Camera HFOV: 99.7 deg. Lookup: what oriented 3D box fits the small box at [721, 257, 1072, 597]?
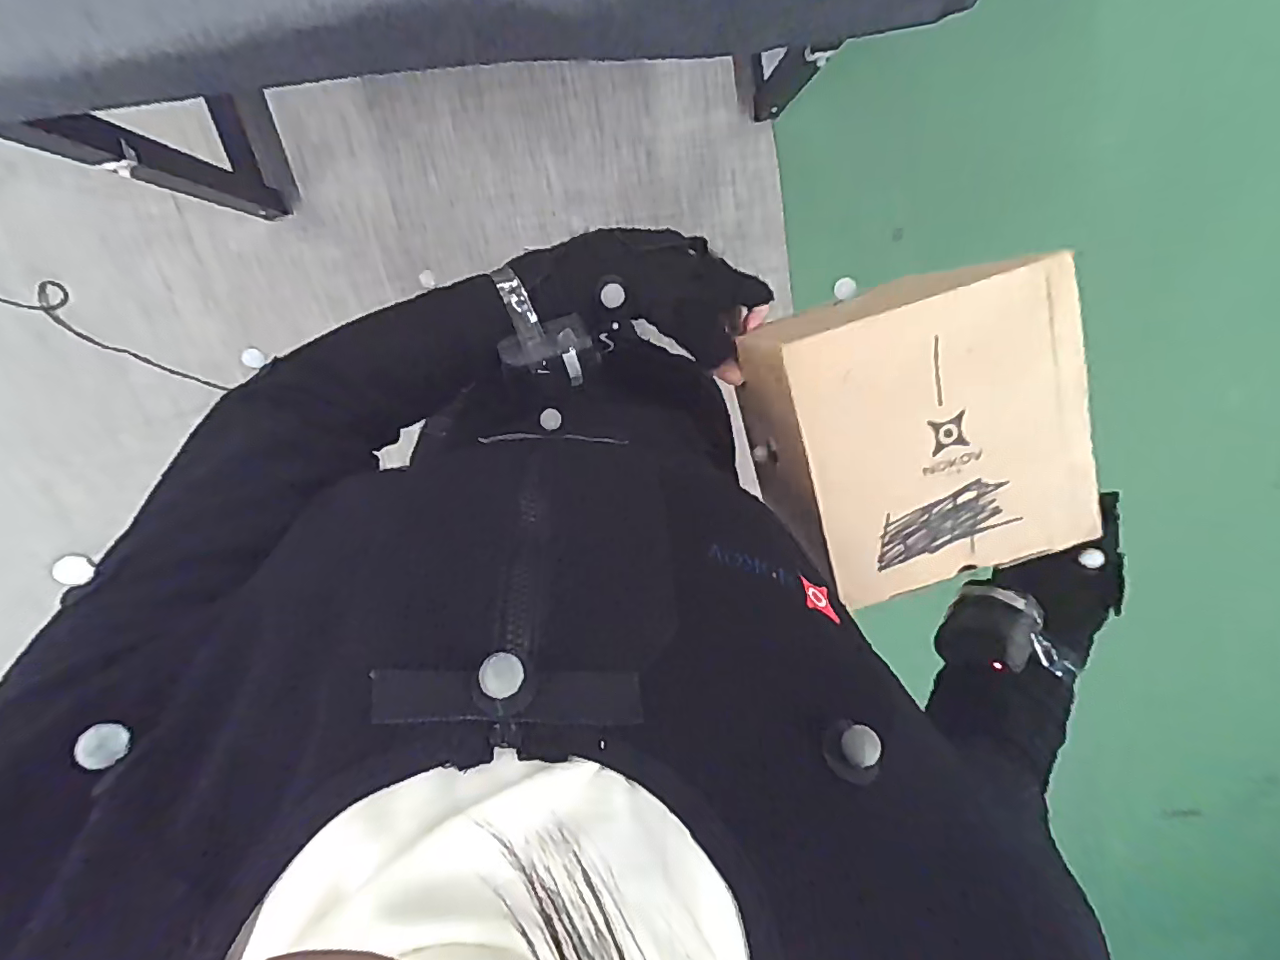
[{"bbox_3d":[0.170,-0.046,0.401,0.168,0.176,0.179,-17,105,1],"label":"small box"}]
